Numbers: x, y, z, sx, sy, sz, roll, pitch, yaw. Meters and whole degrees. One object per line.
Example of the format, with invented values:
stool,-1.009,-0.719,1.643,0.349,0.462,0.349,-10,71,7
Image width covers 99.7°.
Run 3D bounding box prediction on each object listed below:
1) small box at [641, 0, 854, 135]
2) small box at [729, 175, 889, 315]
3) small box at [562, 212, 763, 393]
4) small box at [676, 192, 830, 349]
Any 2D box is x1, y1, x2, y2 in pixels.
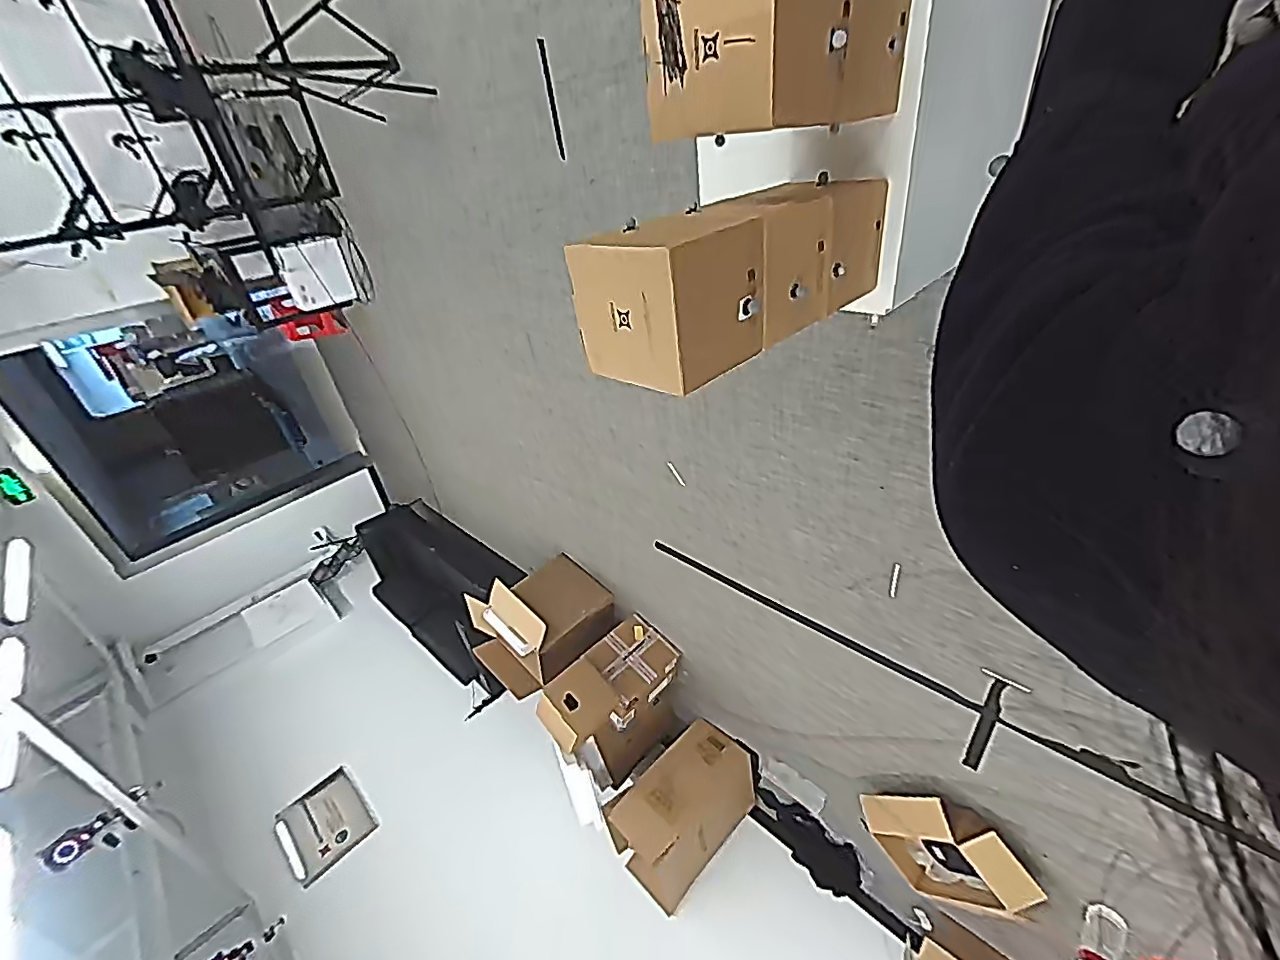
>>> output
small box,0.123,-0.504,0.622,0.179,0.176,0.168,24,136,37
small box,0.260,-0.375,0.853,0.179,0.176,0.168,25,136,40
small box,0.033,-0.228,0.674,0.179,0.176,0.168,22,134,40
small box,0.148,-0.301,0.763,0.179,0.176,0.168,23,134,40
